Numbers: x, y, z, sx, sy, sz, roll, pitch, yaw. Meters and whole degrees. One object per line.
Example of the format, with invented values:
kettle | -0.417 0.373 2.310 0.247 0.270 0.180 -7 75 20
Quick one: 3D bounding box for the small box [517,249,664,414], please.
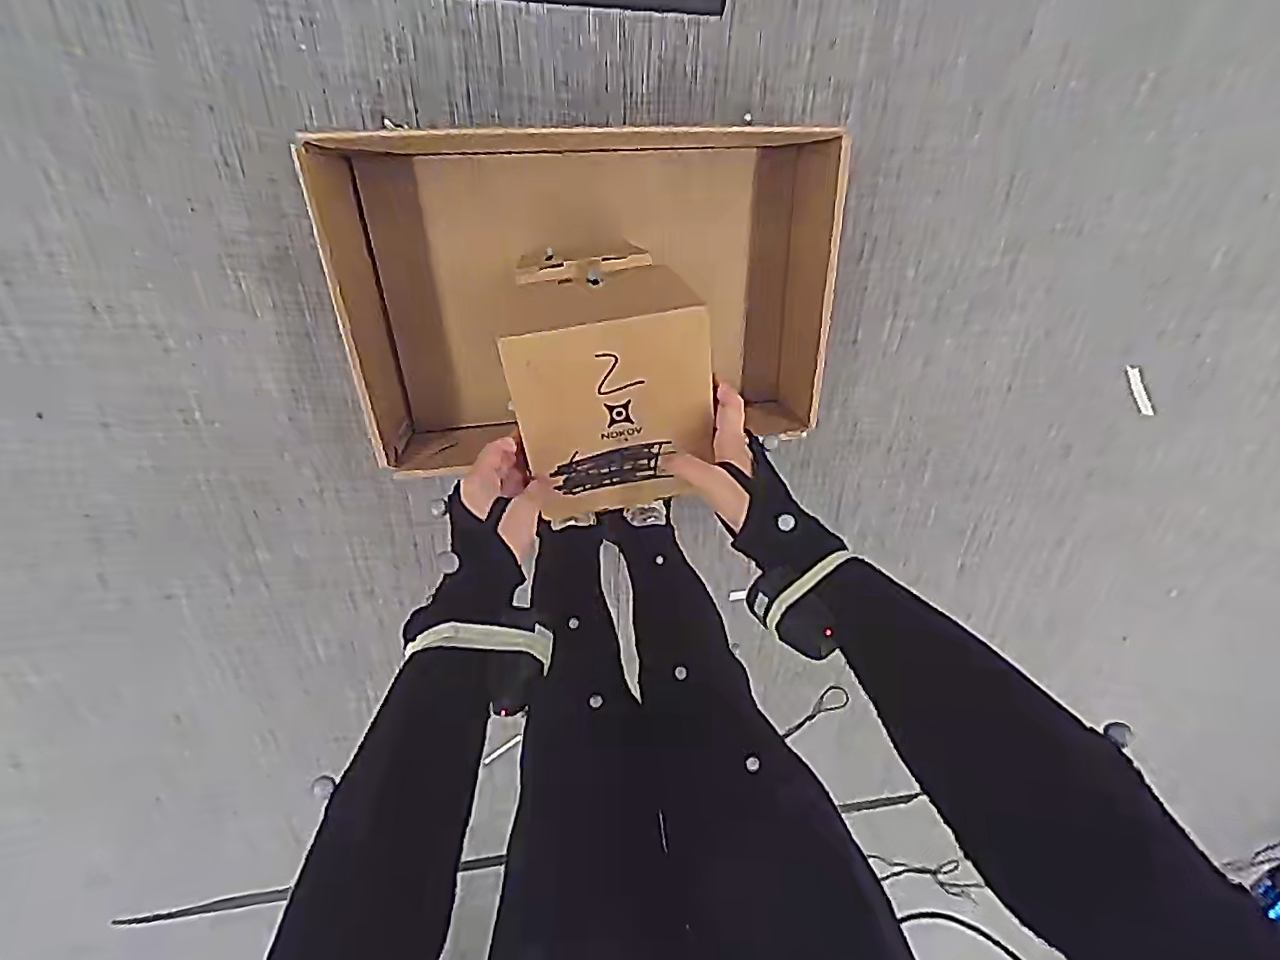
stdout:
small box | -0.069 -0.211 0.737 0.168 0.176 0.179 -10 119 -5
